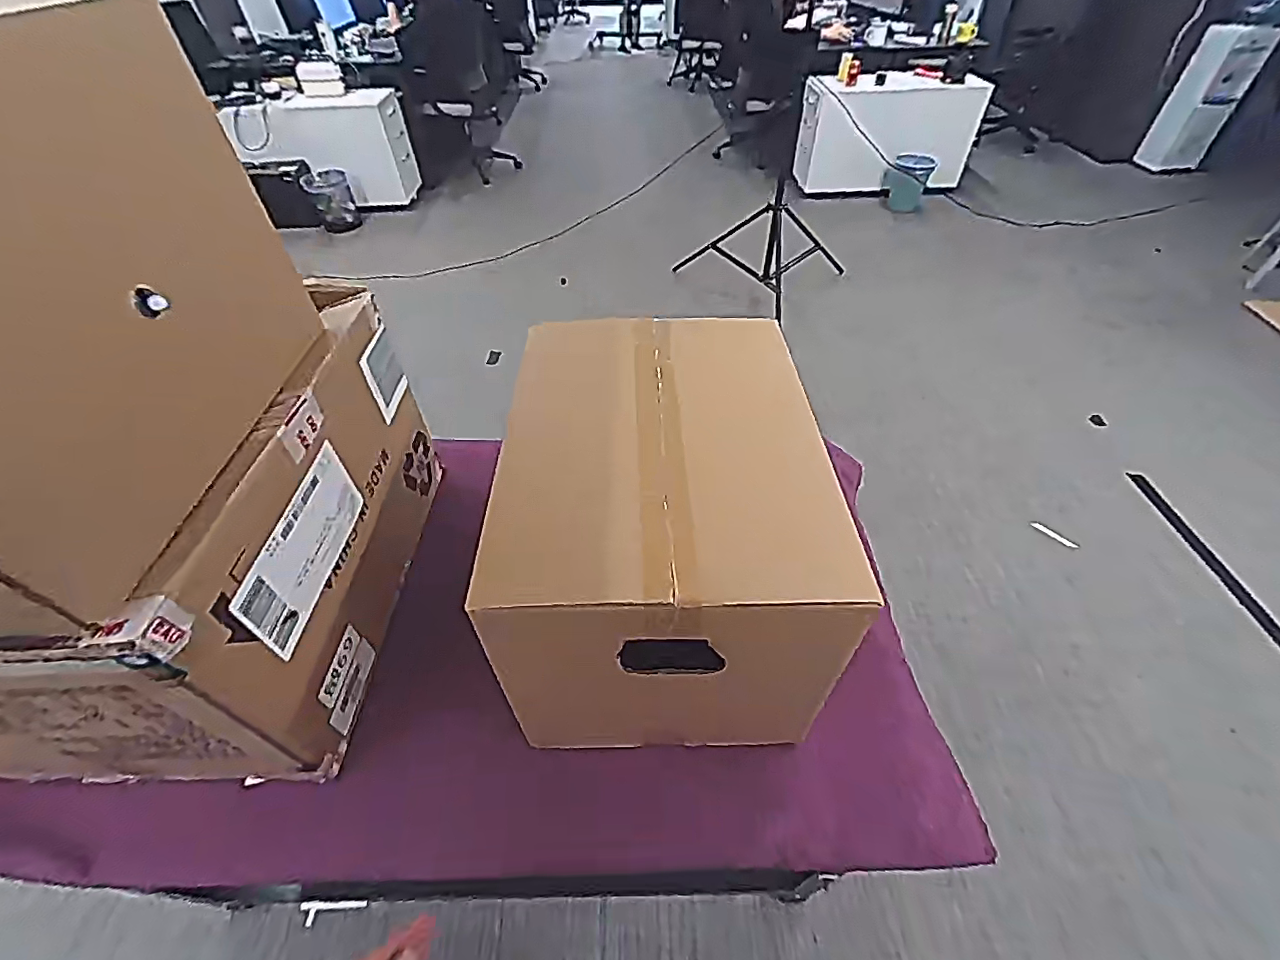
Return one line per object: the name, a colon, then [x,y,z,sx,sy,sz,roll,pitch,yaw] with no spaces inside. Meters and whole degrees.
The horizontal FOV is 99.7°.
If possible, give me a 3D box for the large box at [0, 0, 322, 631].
large box: [-0.522,-0.135,0.409,0.320,0.320,0.408,-3,47,1]
